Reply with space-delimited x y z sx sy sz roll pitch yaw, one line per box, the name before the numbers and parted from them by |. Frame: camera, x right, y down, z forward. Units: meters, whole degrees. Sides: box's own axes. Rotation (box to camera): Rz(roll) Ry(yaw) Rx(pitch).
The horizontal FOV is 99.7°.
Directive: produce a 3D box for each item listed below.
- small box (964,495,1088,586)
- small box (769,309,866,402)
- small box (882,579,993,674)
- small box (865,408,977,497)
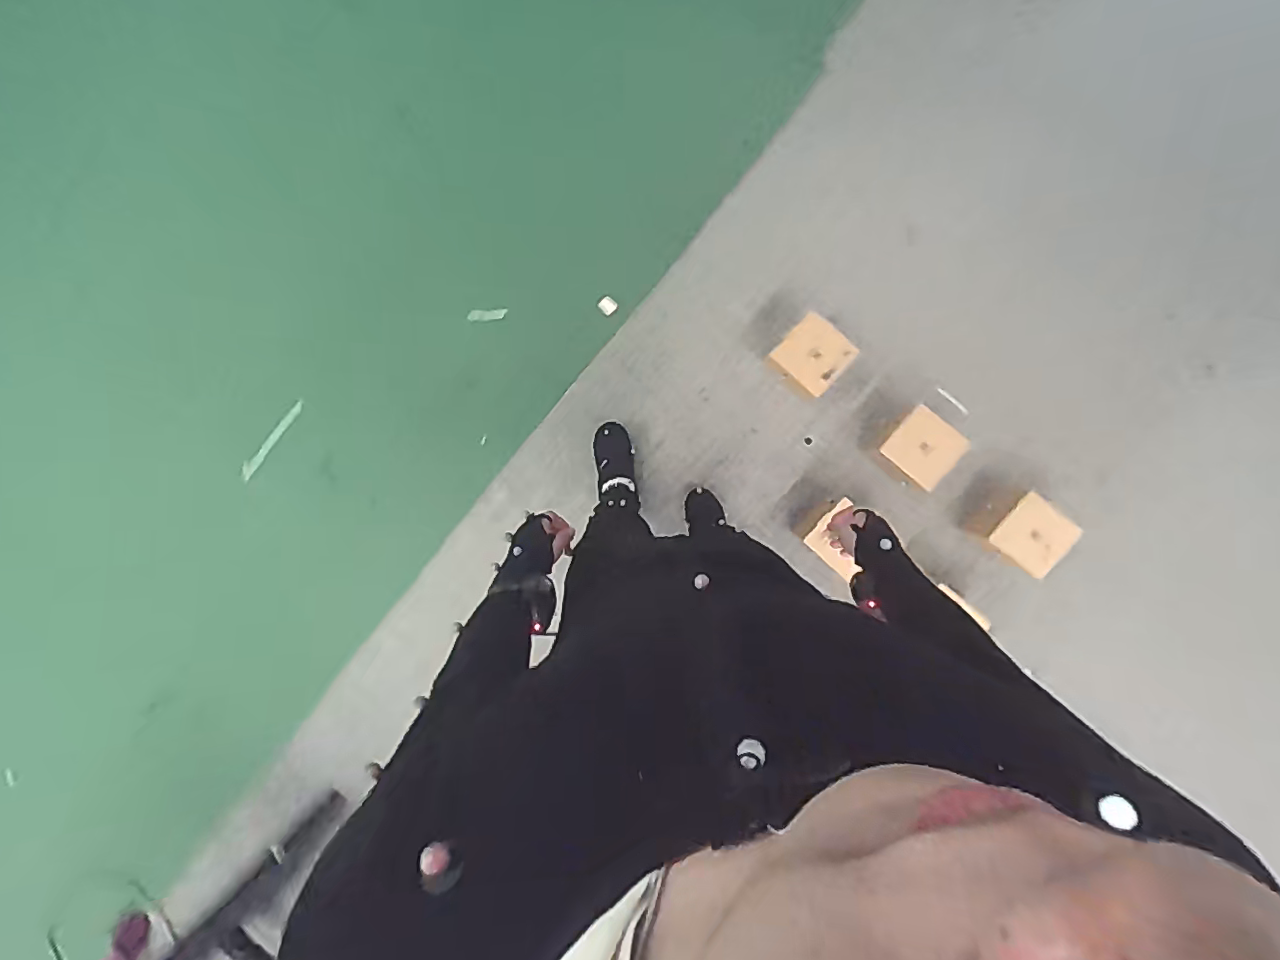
small box | 1.029 0.154 1.461 0.179 0.176 0.168 40 97 2
small box | 0.477 -0.331 1.487 0.179 0.176 0.168 44 96 2
small box | 0.812 0.394 1.498 0.179 0.176 0.168 40 96 1
small box | 0.756 -0.077 1.475 0.179 0.176 0.168 42 95 2
